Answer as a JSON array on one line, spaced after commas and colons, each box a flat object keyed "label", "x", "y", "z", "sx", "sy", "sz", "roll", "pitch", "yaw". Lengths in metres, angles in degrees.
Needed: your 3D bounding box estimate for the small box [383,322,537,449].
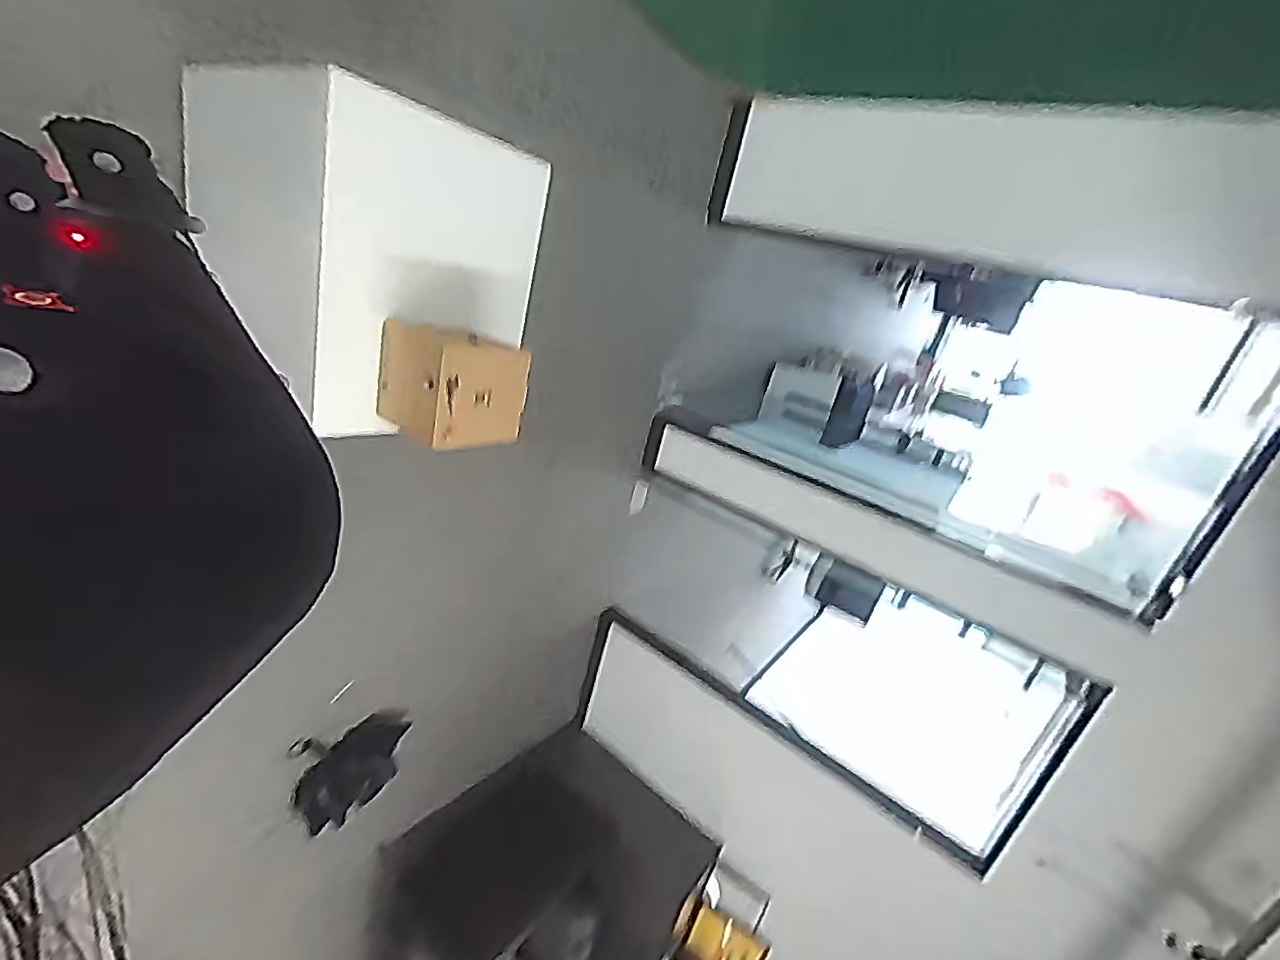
[{"label": "small box", "x": -0.309, "y": -0.165, "z": 0.927, "sx": 0.179, "sy": 0.176, "sz": 0.168, "roll": -13, "pitch": 123, "yaw": -53}]
